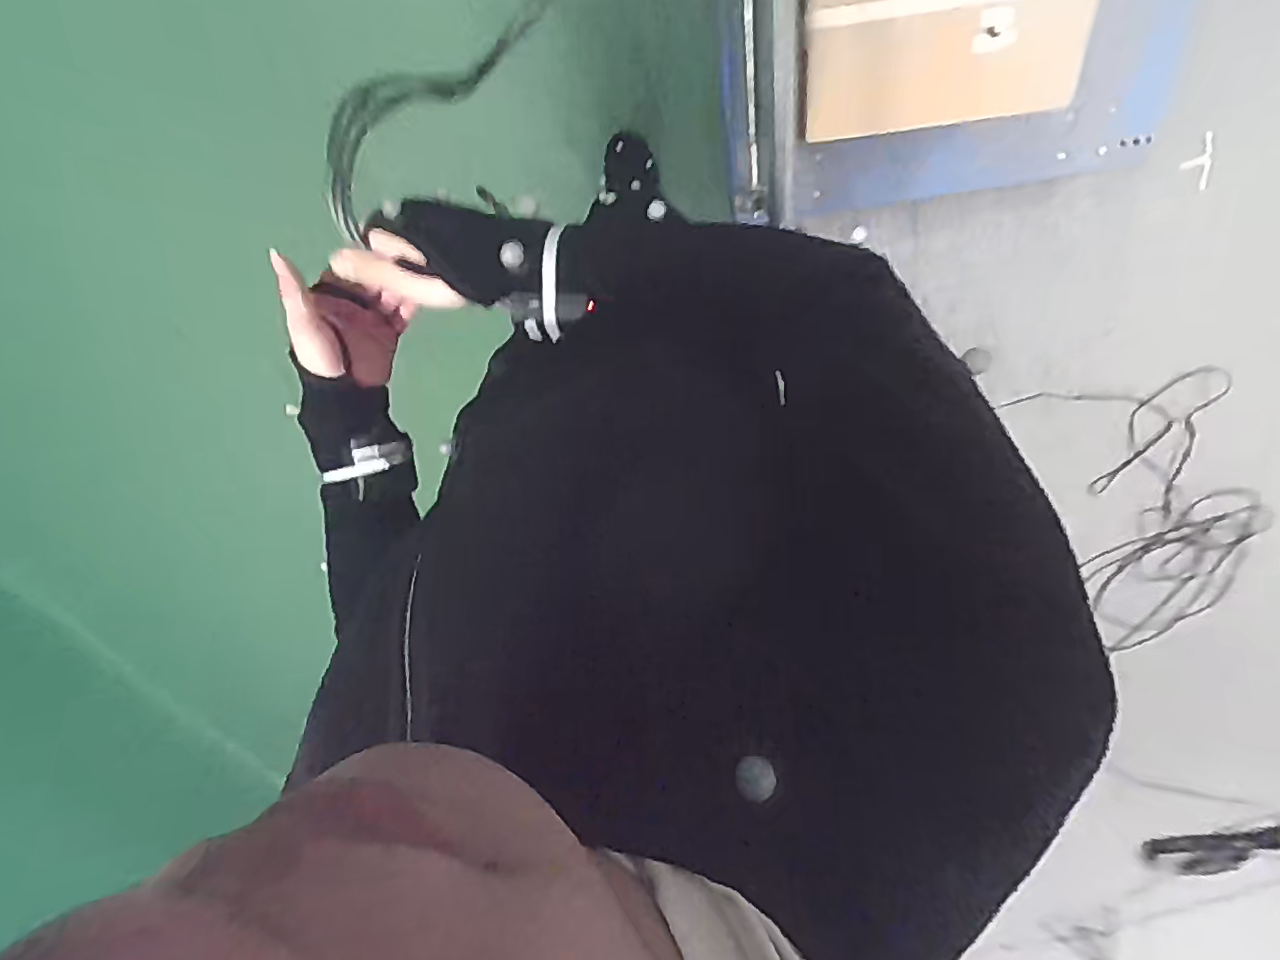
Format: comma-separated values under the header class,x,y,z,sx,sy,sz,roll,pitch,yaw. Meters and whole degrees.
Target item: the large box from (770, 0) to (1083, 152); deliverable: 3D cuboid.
class,x,y,z,sx,sy,sz,roll,pitch,yaw
large box,0.450,-0.771,0.927,0.408,0.320,0.320,-5,121,4
